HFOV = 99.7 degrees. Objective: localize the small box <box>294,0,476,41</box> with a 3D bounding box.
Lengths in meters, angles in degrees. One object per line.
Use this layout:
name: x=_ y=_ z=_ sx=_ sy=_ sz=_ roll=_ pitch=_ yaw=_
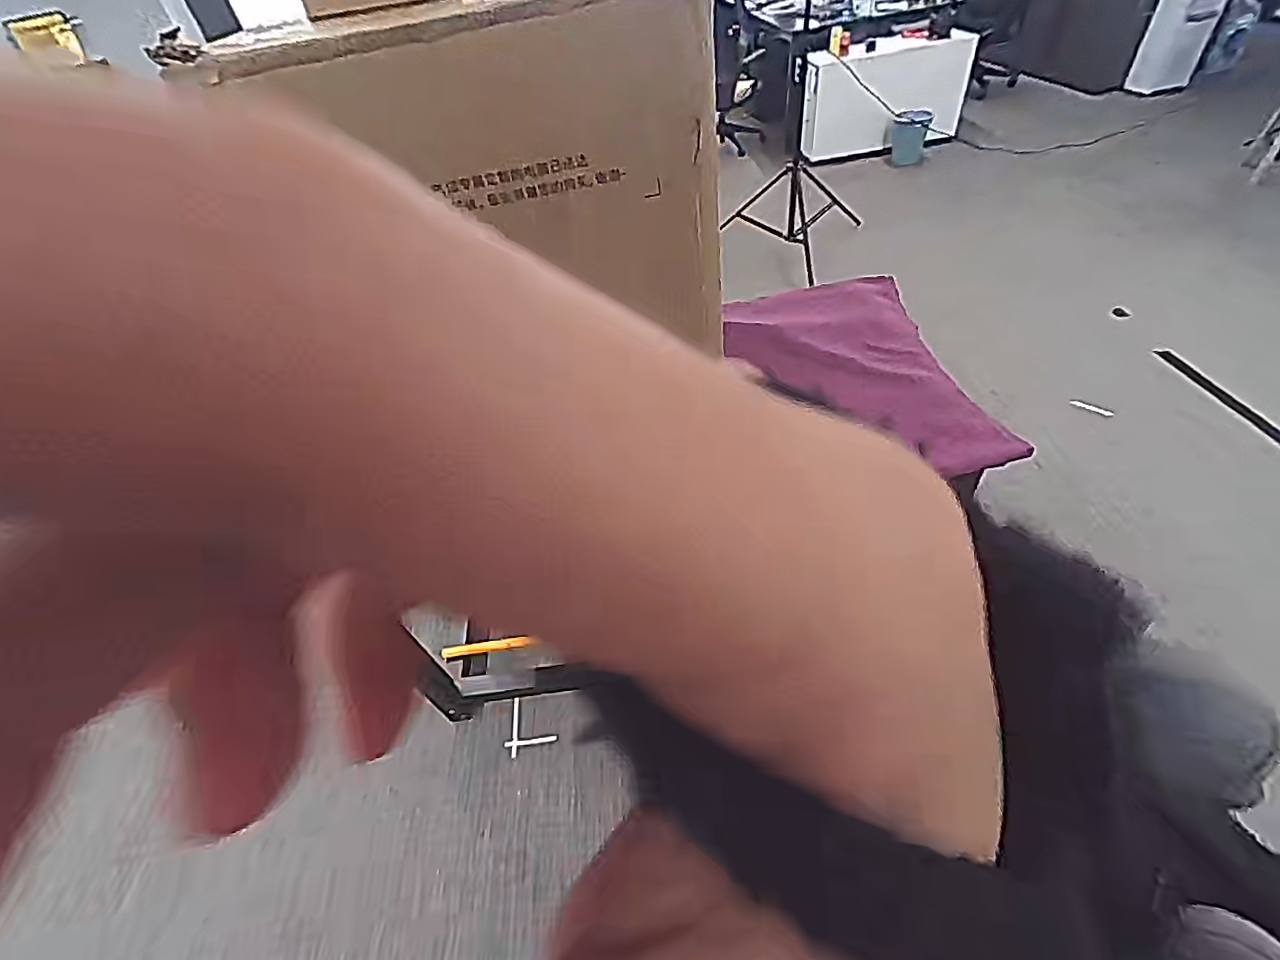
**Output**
small box: x=-0.306 y=-0.624 z=0.609 sx=0.179 sy=0.176 sz=0.168 roll=-8 pitch=46 yaw=2
